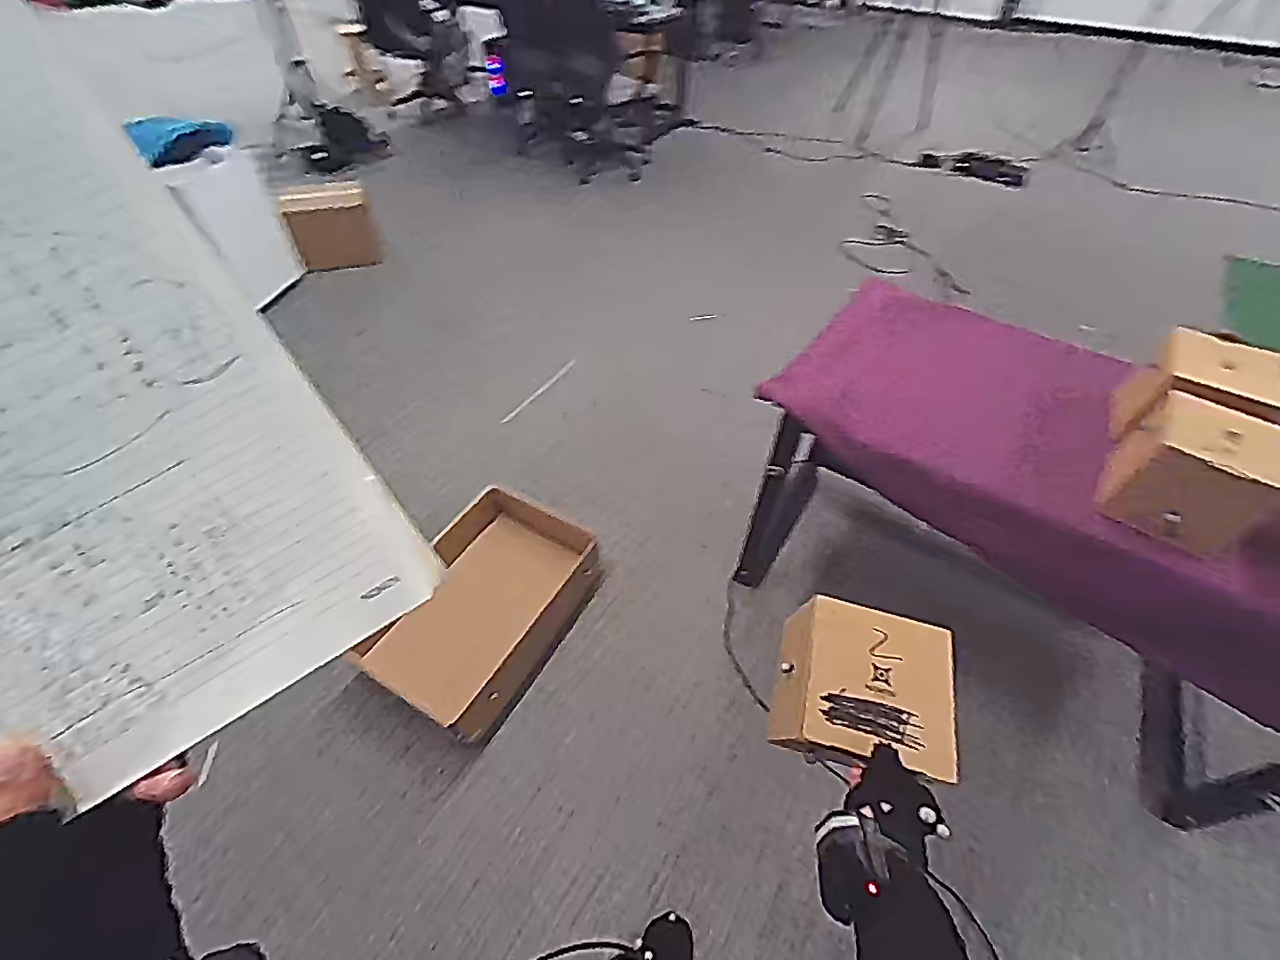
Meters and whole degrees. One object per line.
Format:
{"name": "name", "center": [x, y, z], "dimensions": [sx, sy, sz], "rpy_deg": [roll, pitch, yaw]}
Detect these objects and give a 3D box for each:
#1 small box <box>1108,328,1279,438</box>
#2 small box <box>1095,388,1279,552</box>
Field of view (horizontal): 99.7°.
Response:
{"name": "small box", "center": [1.040, -0.155, 1.031], "dimensions": [0.168, 0.176, 0.179], "rpy_deg": [26, 53, 20]}
{"name": "small box", "center": [0.910, -0.017, 0.903], "dimensions": [0.168, 0.176, 0.179], "rpy_deg": [31, 55, 24]}
